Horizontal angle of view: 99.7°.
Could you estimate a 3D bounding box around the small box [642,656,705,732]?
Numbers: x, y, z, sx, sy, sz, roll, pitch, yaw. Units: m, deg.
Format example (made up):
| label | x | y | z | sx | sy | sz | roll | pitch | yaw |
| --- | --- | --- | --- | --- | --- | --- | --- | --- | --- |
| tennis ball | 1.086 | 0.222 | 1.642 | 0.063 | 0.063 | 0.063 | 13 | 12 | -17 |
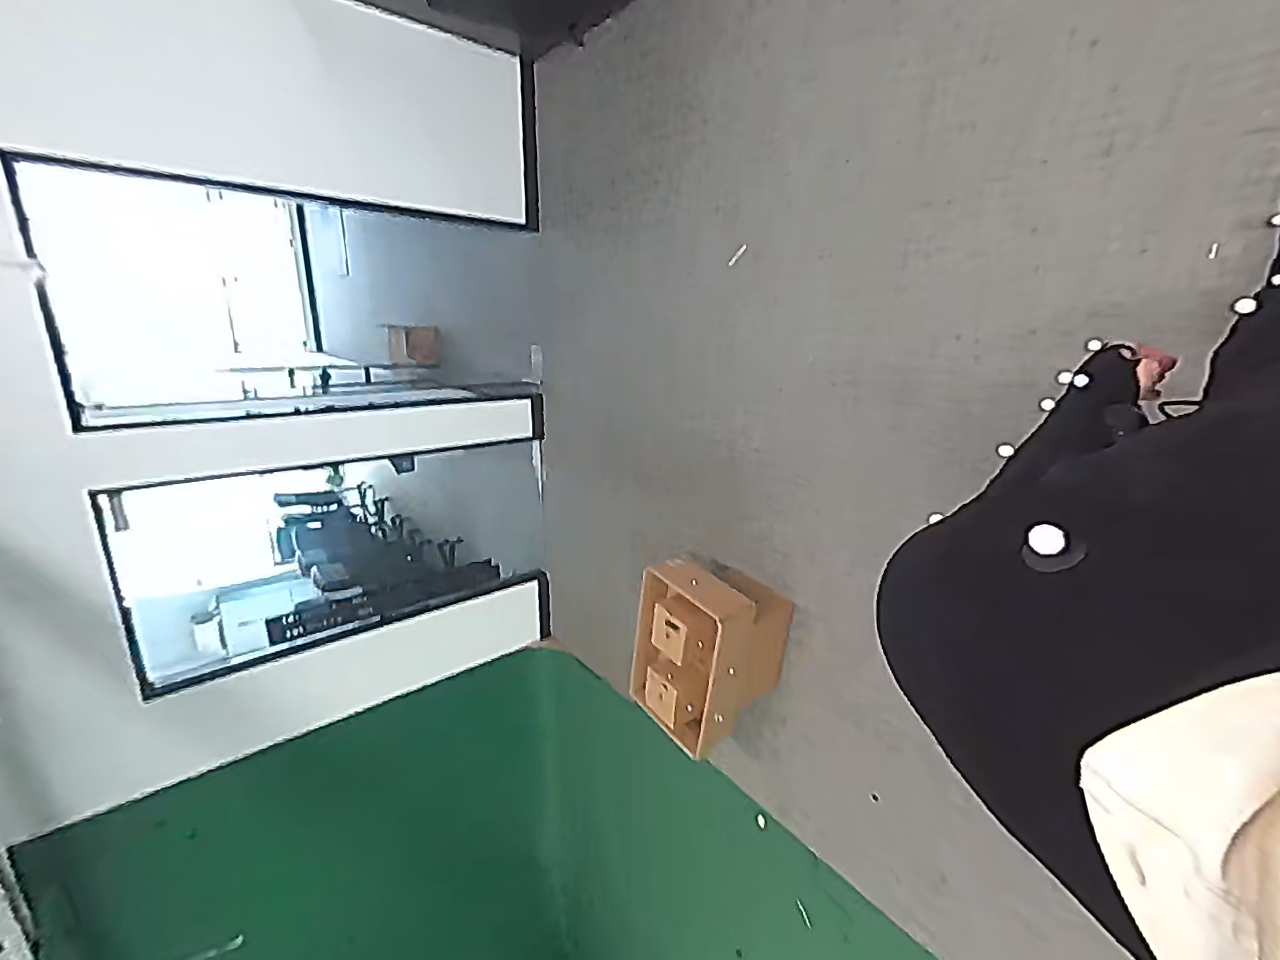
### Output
| label | x | y | z | sx | sy | sz | roll | pitch | yaw |
| --- | --- | --- | --- | --- | --- | --- | --- | --- | --- |
| small box | 0.126 | 0.801 | 2.039 | 0.168 | 0.176 | 0.179 | 25 | 119 | 46 |
